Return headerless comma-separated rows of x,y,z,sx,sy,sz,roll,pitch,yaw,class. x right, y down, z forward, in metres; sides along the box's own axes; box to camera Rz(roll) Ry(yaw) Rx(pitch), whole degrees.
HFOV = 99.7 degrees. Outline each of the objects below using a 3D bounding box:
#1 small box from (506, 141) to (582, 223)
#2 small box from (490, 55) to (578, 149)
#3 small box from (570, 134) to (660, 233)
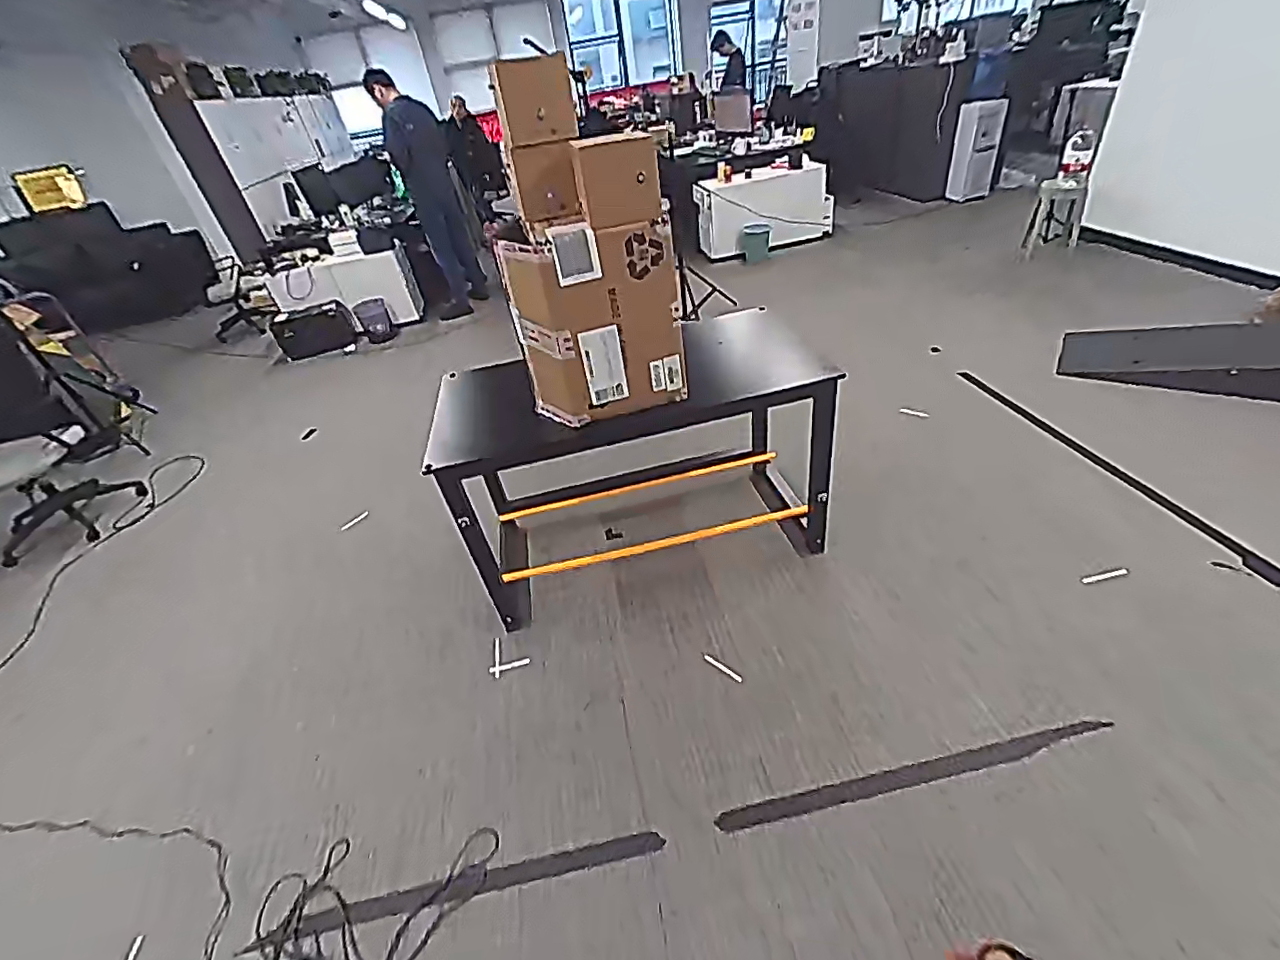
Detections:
-0.249,-0.790,1.429,0.168,0.176,0.179,-15,36,-9,small box
-0.260,-0.920,1.328,0.168,0.176,0.179,-17,36,-10,small box
-0.056,-0.701,1.278,0.179,0.176,0.168,-15,37,-6,small box
